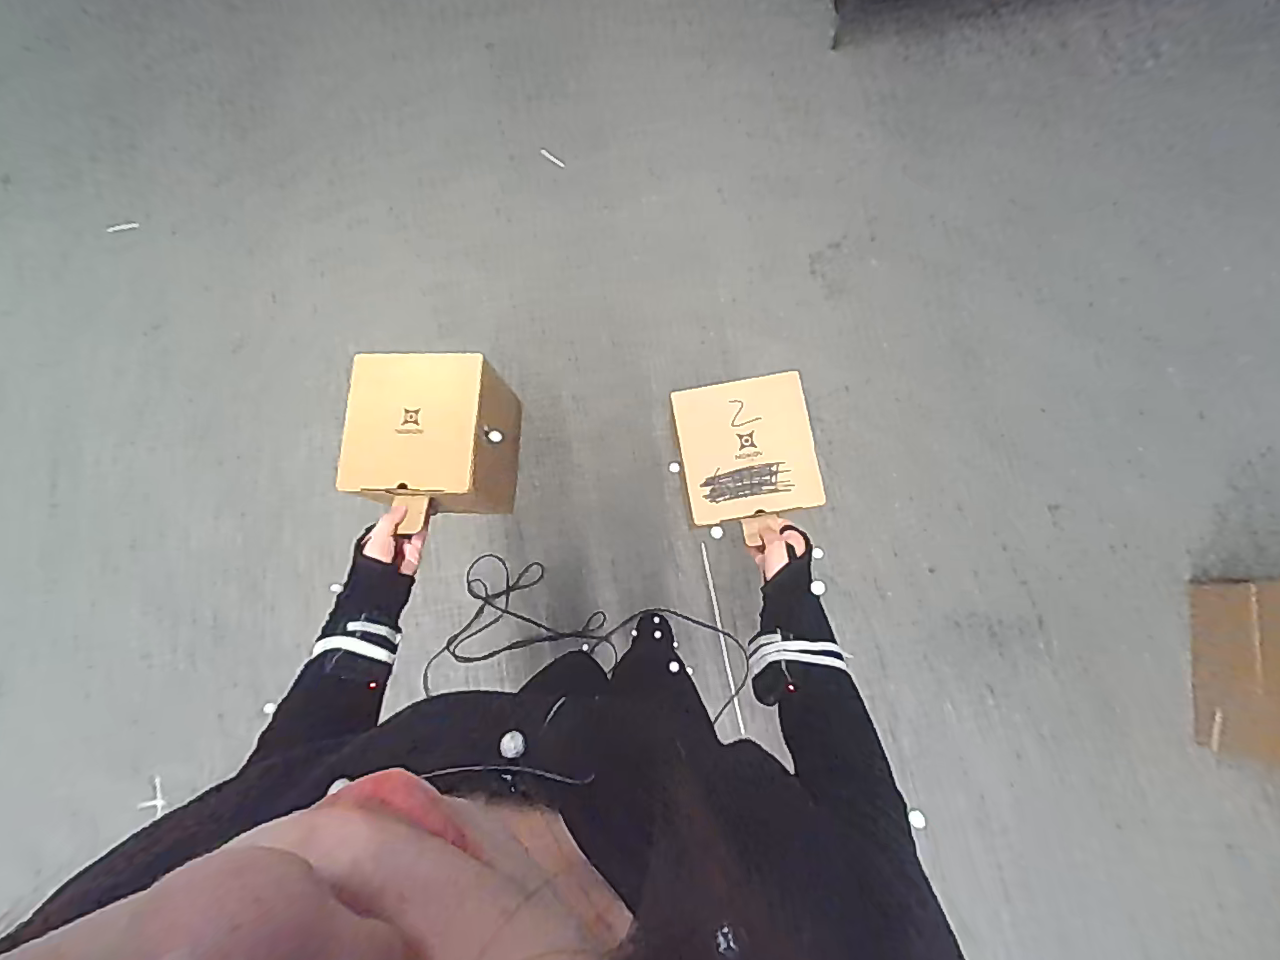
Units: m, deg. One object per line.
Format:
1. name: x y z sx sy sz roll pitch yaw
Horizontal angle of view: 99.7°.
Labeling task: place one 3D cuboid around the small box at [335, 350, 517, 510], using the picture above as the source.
1. small box: -0.271 -0.059 0.728 0.168 0.176 0.179 1 79 5
